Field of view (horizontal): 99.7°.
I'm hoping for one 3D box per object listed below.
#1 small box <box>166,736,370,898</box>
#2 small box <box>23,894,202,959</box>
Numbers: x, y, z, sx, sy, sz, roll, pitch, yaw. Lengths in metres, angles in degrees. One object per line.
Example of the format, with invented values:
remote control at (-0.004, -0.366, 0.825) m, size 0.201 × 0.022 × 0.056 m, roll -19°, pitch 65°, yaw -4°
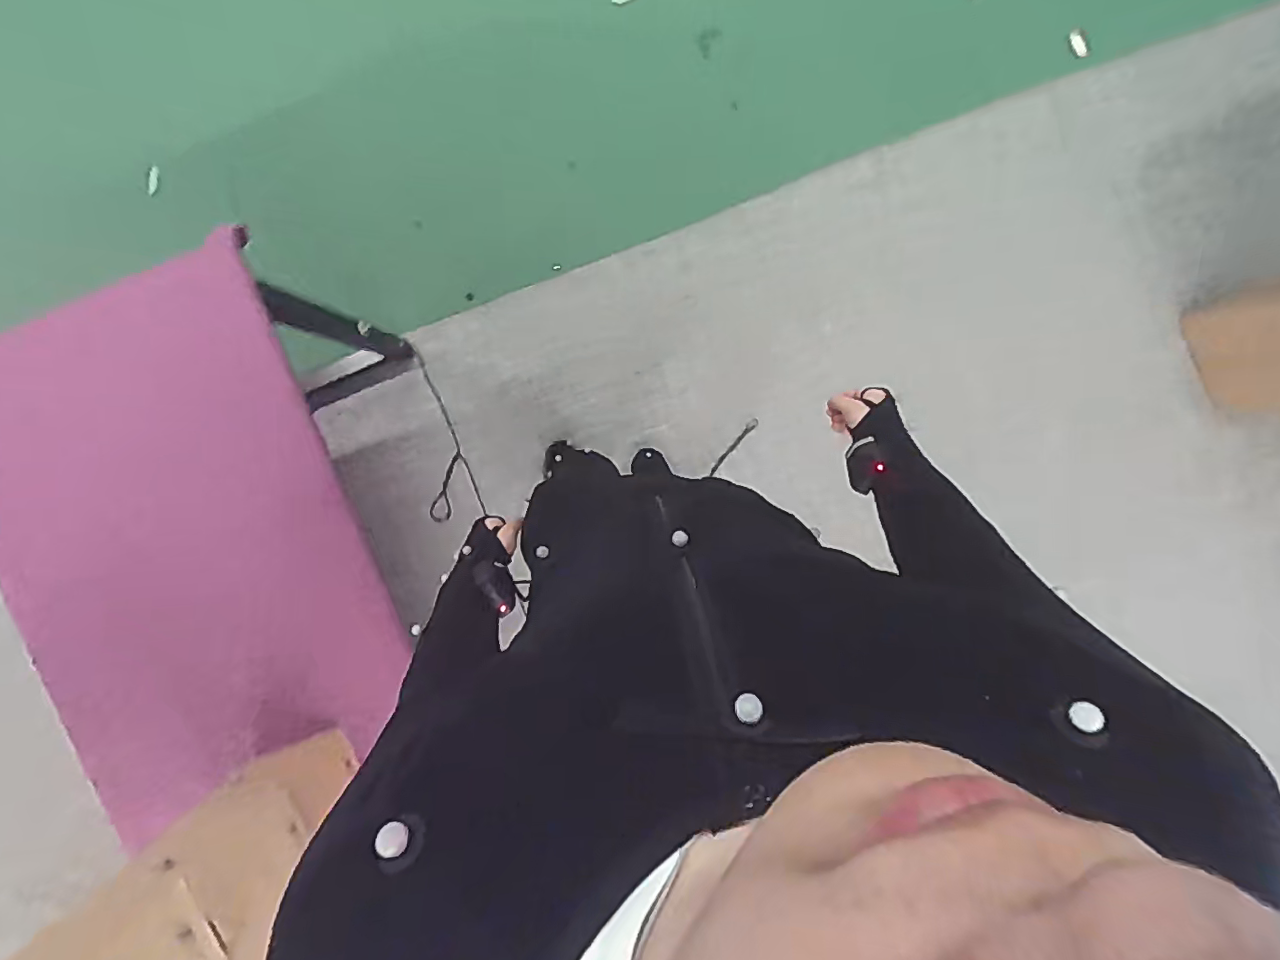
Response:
small box at (-0.575, 0.548, 0.859) m, size 0.179 × 0.176 × 0.168 m, roll -22°, pitch 94°, yaw 2°
small box at (-0.571, 0.566, 0.534) m, size 0.179 × 0.176 × 0.168 m, roll -24°, pitch 94°, yaw 4°
